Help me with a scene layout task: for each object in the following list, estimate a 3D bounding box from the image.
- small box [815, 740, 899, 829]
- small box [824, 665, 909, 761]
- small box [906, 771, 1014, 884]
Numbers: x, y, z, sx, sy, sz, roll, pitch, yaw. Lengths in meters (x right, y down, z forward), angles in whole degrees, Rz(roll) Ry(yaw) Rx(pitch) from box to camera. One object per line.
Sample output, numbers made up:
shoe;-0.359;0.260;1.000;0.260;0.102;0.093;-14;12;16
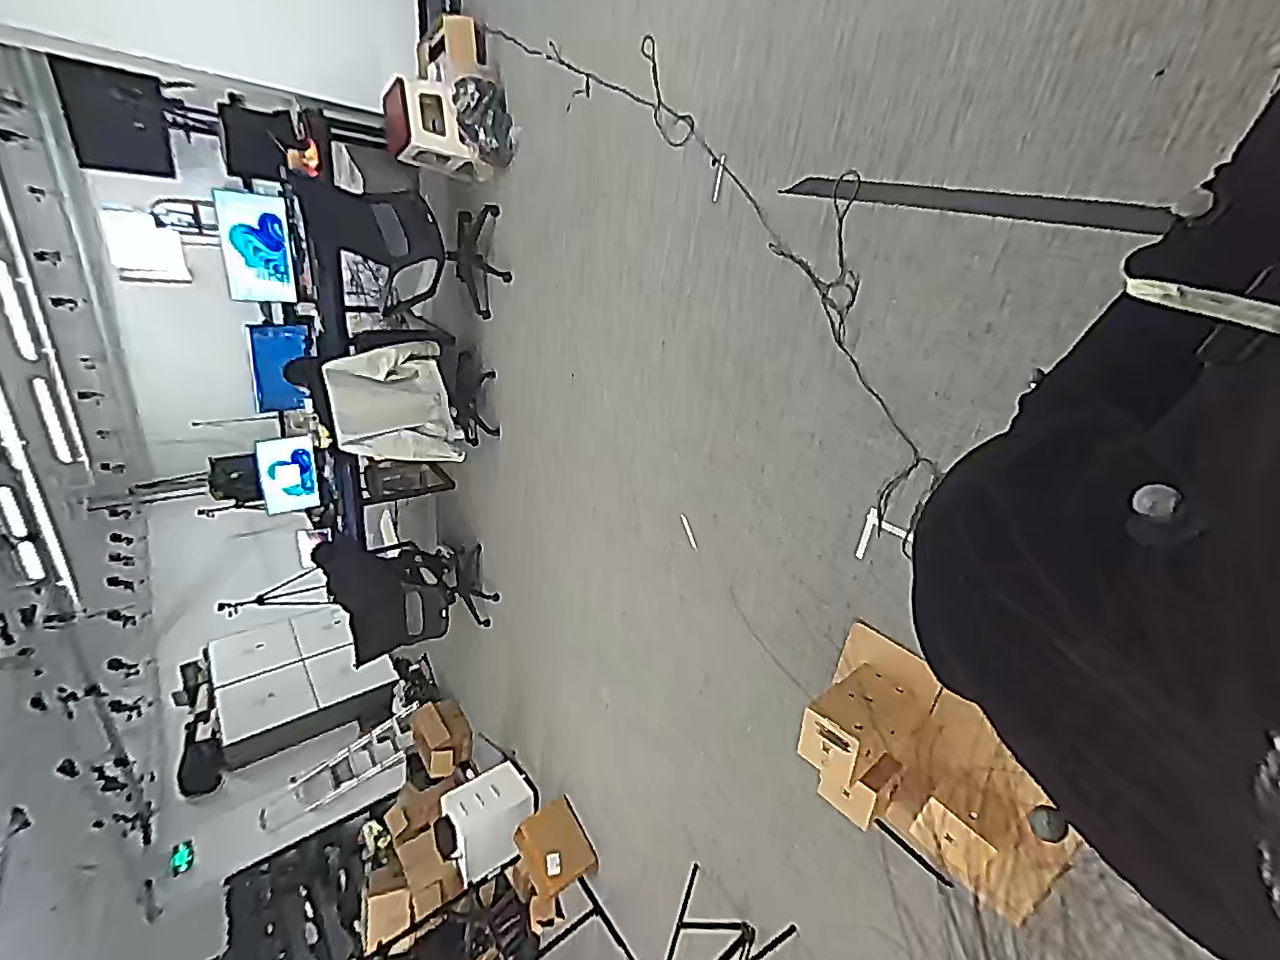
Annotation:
small box;0.693;0.951;1.730;0.179;0.176;0.168;25;120;44
small box;0.695;0.702;1.652;0.168;0.176;0.179;26;120;44
small box;0.882;0.943;1.491;0.179;0.176;0.168;35;125;39
